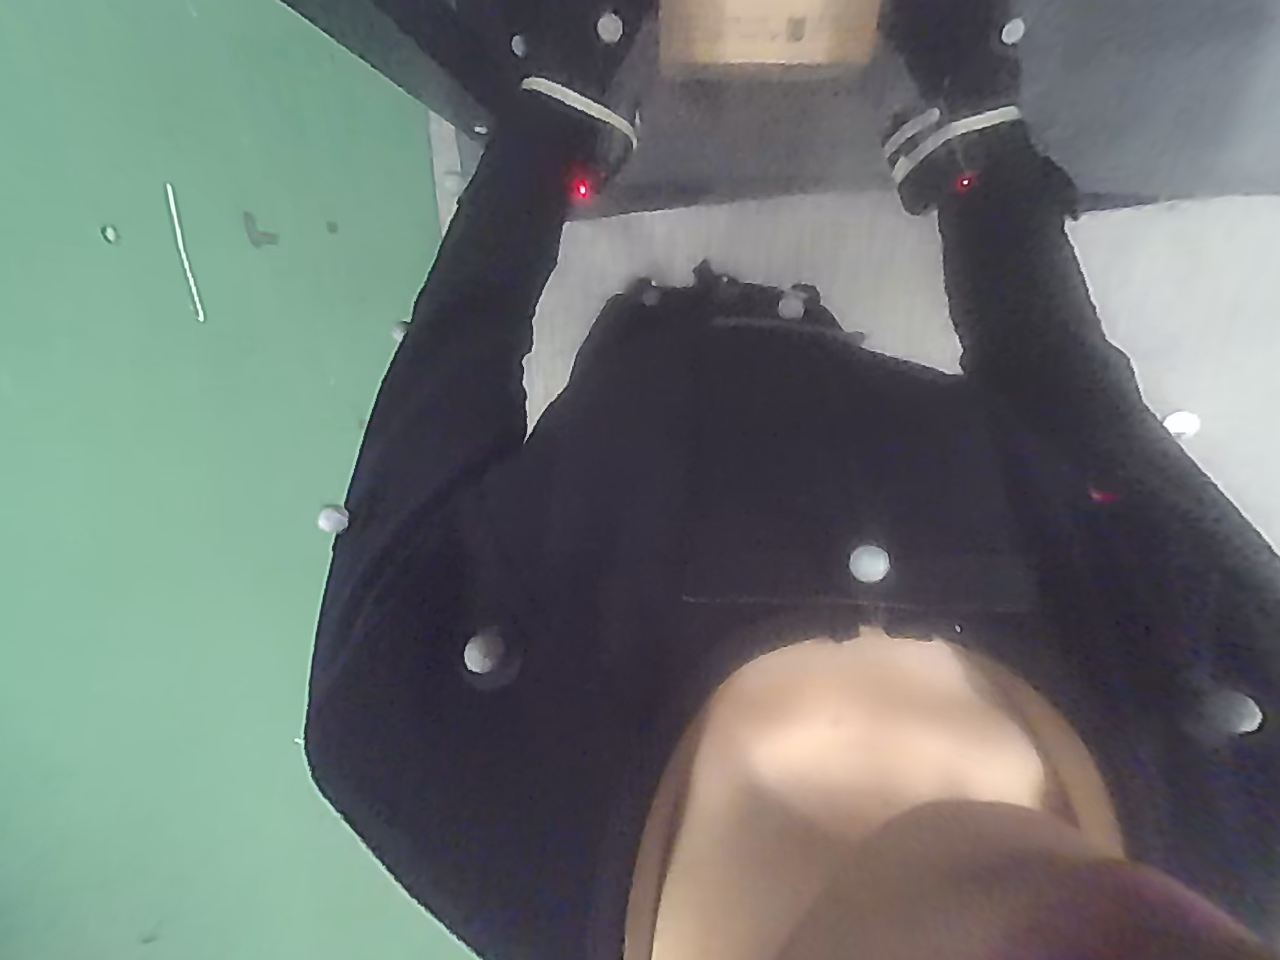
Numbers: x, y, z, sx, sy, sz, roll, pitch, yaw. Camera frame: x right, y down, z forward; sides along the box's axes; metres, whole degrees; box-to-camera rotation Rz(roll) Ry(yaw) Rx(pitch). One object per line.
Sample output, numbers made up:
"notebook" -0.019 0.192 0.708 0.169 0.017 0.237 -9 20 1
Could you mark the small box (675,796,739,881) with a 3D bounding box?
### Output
"small box" 0.227 1.239 1.877 0.179 0.176 0.168 16 109 -3
